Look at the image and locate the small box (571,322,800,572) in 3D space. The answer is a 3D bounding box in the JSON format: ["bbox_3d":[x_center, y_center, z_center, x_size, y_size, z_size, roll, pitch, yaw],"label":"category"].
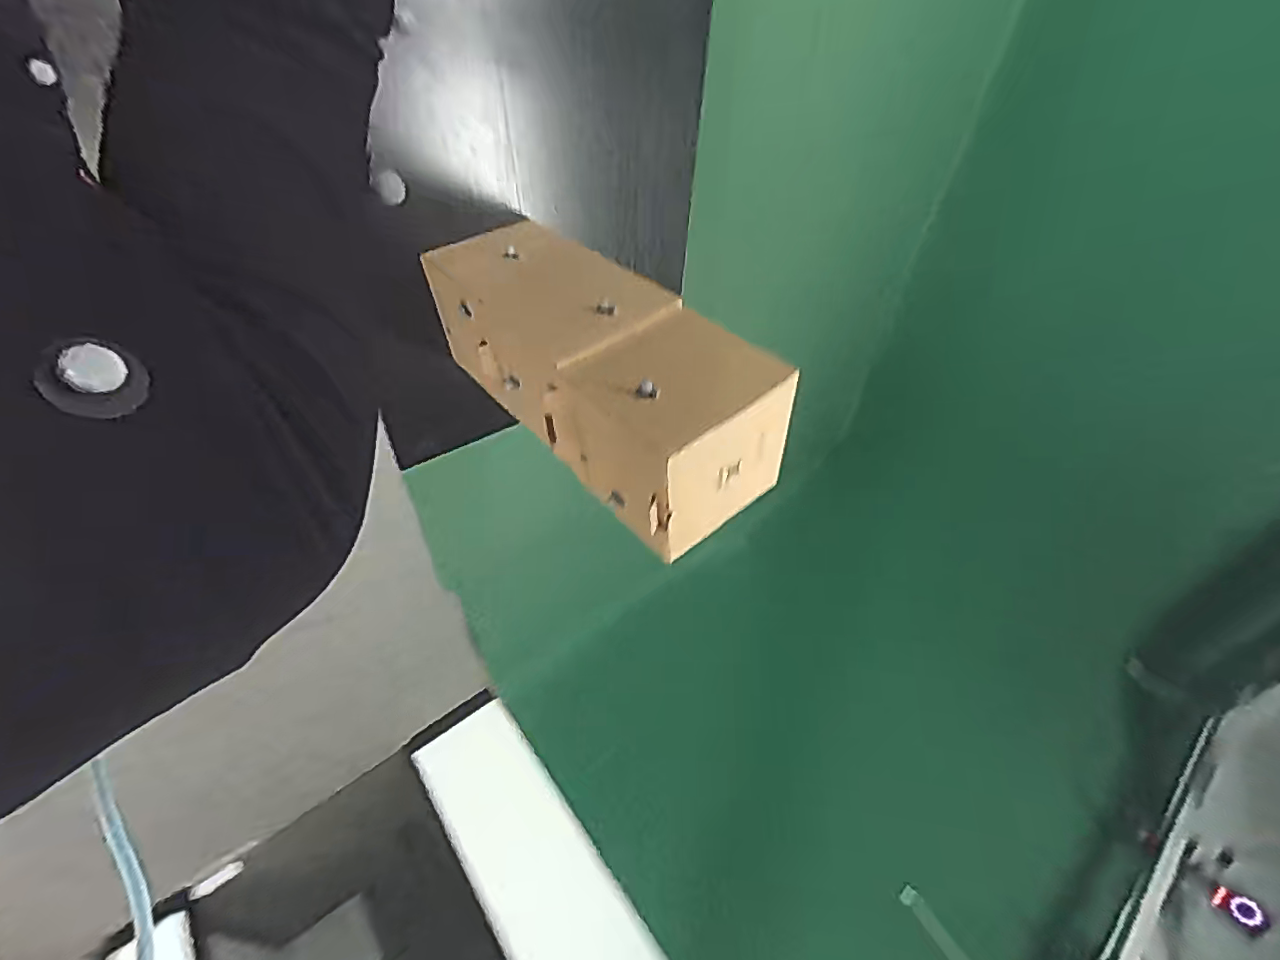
[{"bbox_3d":[0.040,-0.042,0.586,0.179,0.176,0.168,-34,145,-24],"label":"small box"}]

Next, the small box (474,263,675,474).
[{"bbox_3d":[-0.076,-0.146,0.677,0.179,0.176,0.168,-33,144,-24],"label":"small box"}]
